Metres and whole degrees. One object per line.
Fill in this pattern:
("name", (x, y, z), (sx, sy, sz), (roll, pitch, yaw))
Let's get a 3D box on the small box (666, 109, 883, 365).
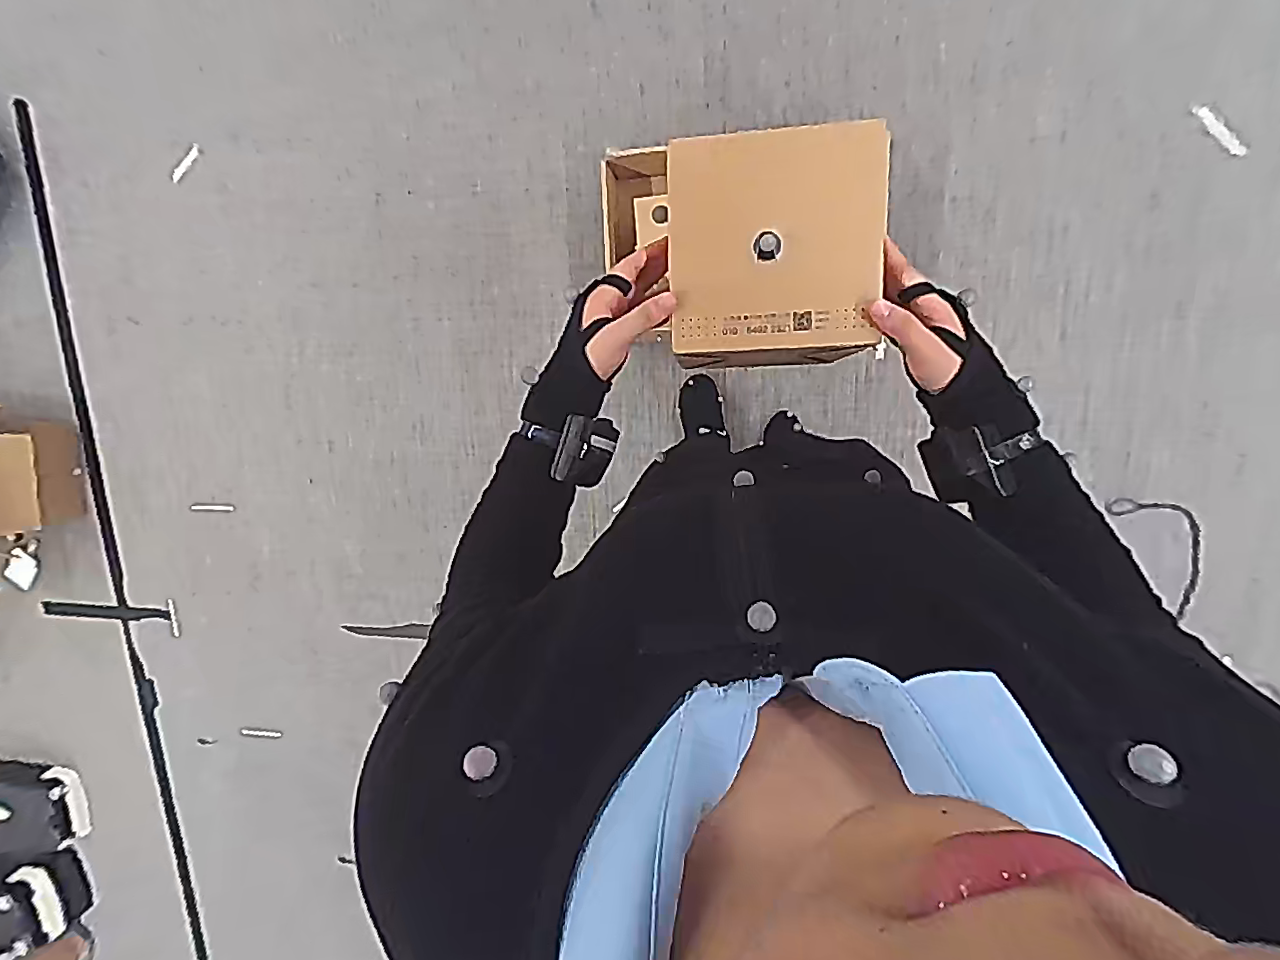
("small box", (0.116, -0.201, 0.501), (0.168, 0.179, 0.176), (0, 98, 8))
